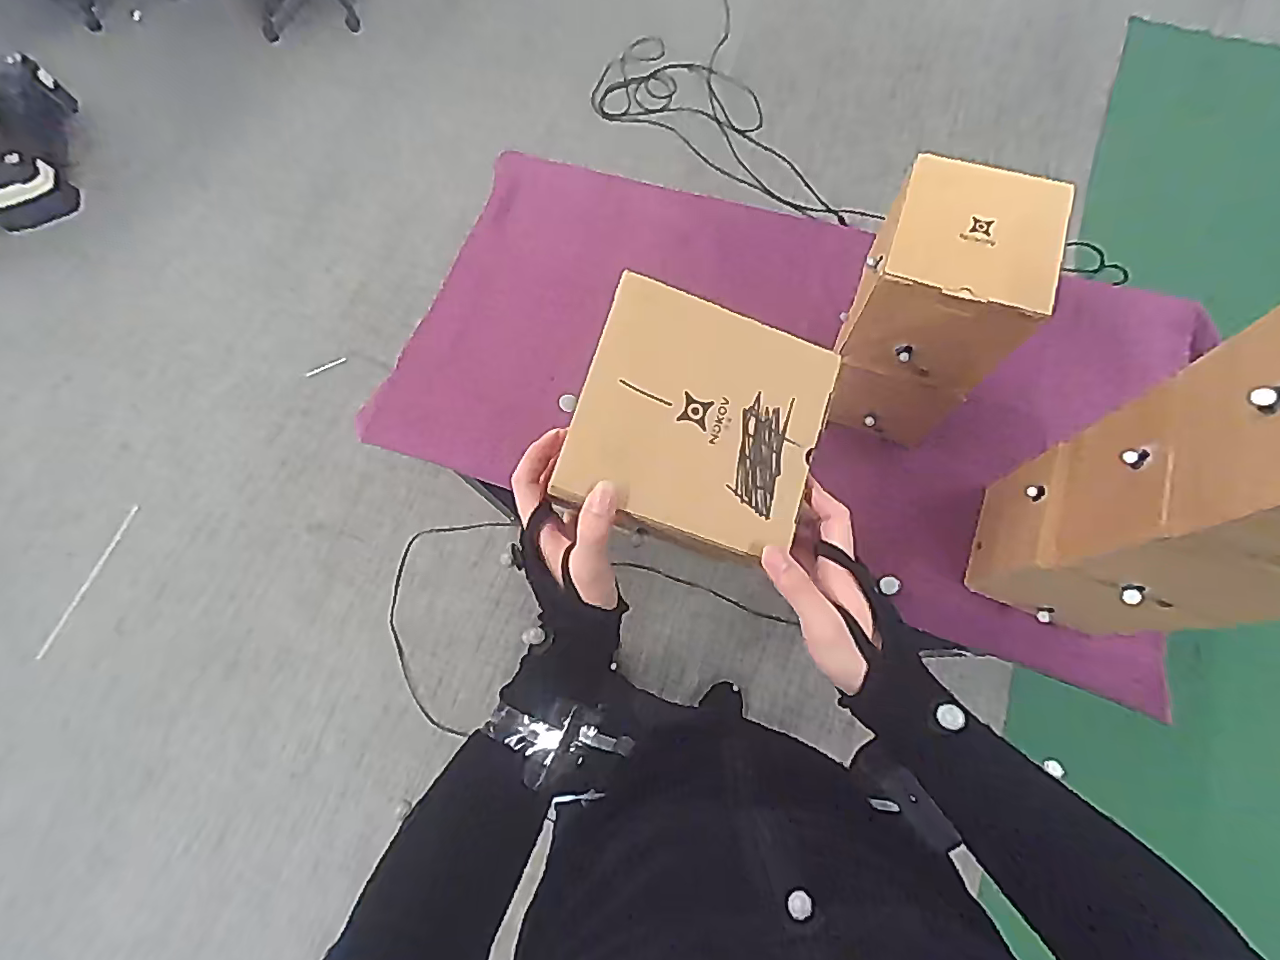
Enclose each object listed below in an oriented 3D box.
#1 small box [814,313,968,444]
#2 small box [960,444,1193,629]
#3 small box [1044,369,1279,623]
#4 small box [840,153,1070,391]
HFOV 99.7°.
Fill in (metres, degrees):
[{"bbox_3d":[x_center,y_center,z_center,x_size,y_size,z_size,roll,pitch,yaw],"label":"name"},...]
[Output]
[{"bbox_3d":[0.373,-0.181,0.795,0.168,0.176,0.179,22,75,11],"label":"small box"},{"bbox_3d":[0.556,0.082,0.695,0.179,0.176,0.168,22,73,11],"label":"small box"},{"bbox_3d":[0.550,0.026,0.541,0.168,0.176,0.179,21,74,12],"label":"small box"},{"bbox_3d":[0.358,-0.236,0.643,0.168,0.176,0.179,19,75,9],"label":"small box"}]
